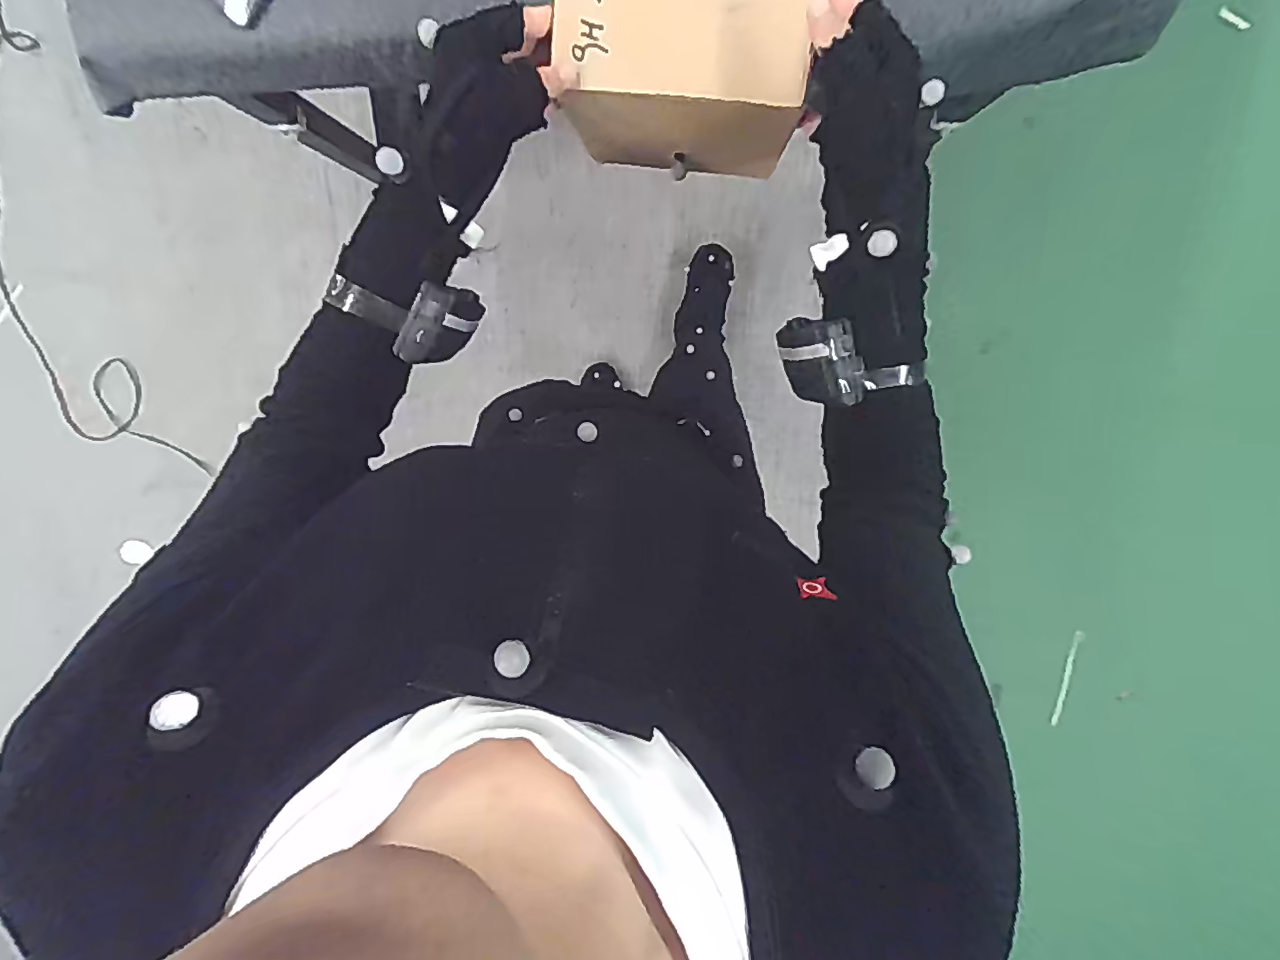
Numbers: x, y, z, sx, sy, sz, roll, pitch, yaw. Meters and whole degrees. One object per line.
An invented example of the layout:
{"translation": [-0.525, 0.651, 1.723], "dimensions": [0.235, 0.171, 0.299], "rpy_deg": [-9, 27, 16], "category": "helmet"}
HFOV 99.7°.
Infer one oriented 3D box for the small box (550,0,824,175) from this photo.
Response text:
{"translation": [0.040, -0.355, 0.419], "dimensions": [0.179, 0.176, 0.168], "rpy_deg": [8, 104, 3], "category": "small box"}
